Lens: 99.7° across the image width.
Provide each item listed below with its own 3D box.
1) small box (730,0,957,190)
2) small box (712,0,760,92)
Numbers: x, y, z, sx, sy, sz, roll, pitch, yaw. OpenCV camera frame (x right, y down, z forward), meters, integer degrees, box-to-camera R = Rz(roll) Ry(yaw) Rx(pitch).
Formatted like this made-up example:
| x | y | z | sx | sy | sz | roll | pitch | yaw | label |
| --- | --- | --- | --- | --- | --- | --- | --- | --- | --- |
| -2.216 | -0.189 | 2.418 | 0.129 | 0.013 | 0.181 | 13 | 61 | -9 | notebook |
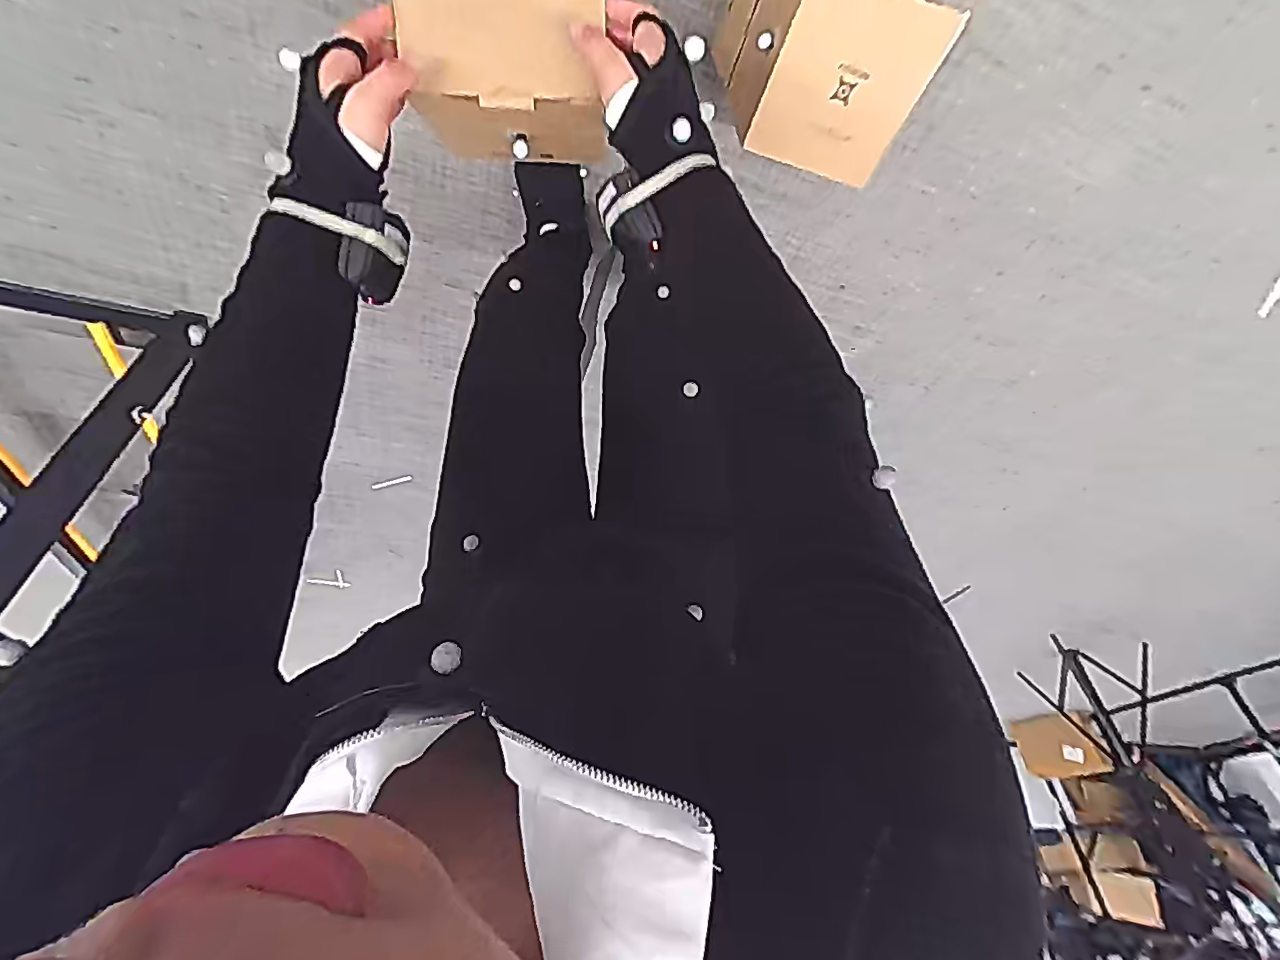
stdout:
| x | y | z | sx | sy | sz | roll | pitch | yaw | label |
| --- | --- | --- | --- | --- | --- | --- | --- | --- | --- |
| 0.215 | -0.486 | 0.632 | 0.168 | 0.176 | 0.179 | 10 | 142 | -13 | small box |
| 0.214 | -0.612 | 0.735 | 0.179 | 0.176 | 0.168 | 11 | 140 | -18 | small box |
